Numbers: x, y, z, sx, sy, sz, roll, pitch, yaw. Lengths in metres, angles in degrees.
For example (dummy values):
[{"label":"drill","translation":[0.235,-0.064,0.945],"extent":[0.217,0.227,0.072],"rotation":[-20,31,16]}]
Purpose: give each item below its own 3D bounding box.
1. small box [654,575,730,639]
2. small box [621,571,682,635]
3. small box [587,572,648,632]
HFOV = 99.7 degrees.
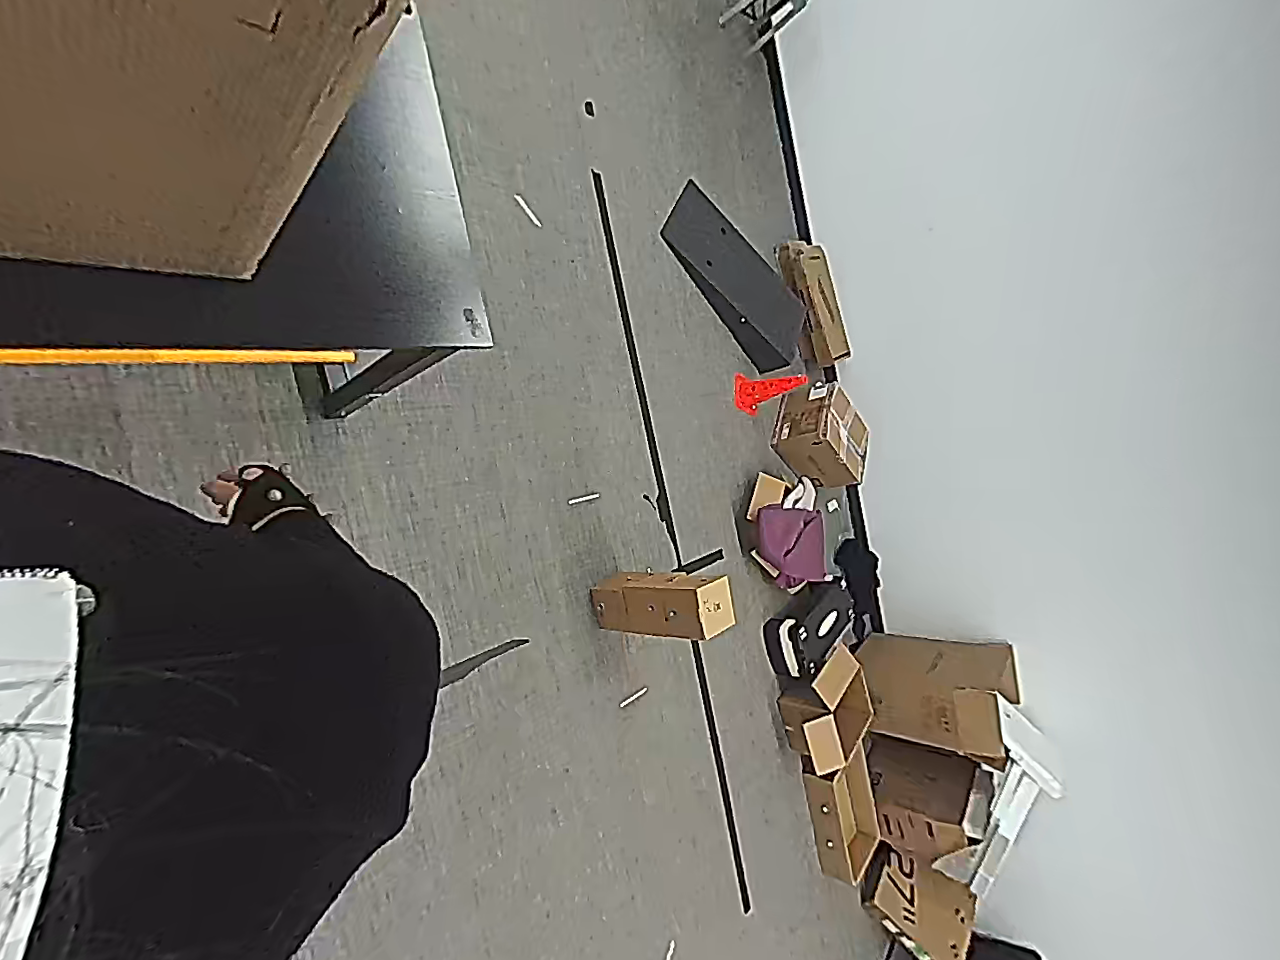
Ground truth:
[{"label":"small box","translation":[0.173,0.414,1.791],"extent":[0.179,0.176,0.168],"rotation":[-10,91,-47]},{"label":"small box","translation":[0.051,0.429,1.901],"extent":[0.168,0.176,0.179],"rotation":[-15,95,-47]},{"label":"small box","translation":[-0.069,0.447,2.013],"extent":[0.179,0.176,0.168],"rotation":[-21,99,-45]}]
